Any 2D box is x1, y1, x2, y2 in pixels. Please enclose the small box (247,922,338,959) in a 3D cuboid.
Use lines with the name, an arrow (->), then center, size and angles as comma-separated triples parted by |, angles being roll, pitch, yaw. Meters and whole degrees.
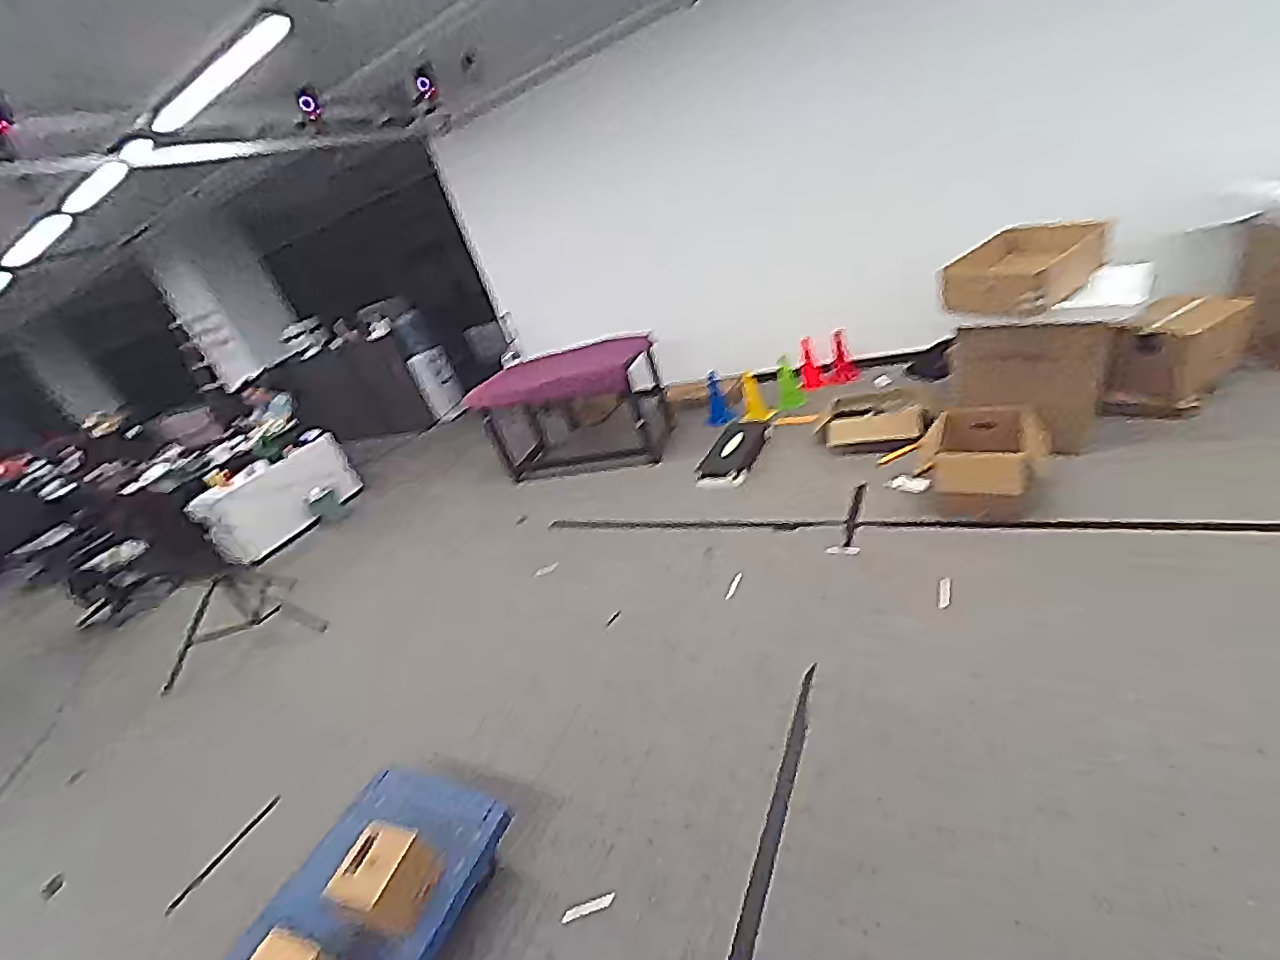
small box -> -0.801, 1.161, 1.227 | 0.179, 0.176, 0.168 | -4, 30, 27
